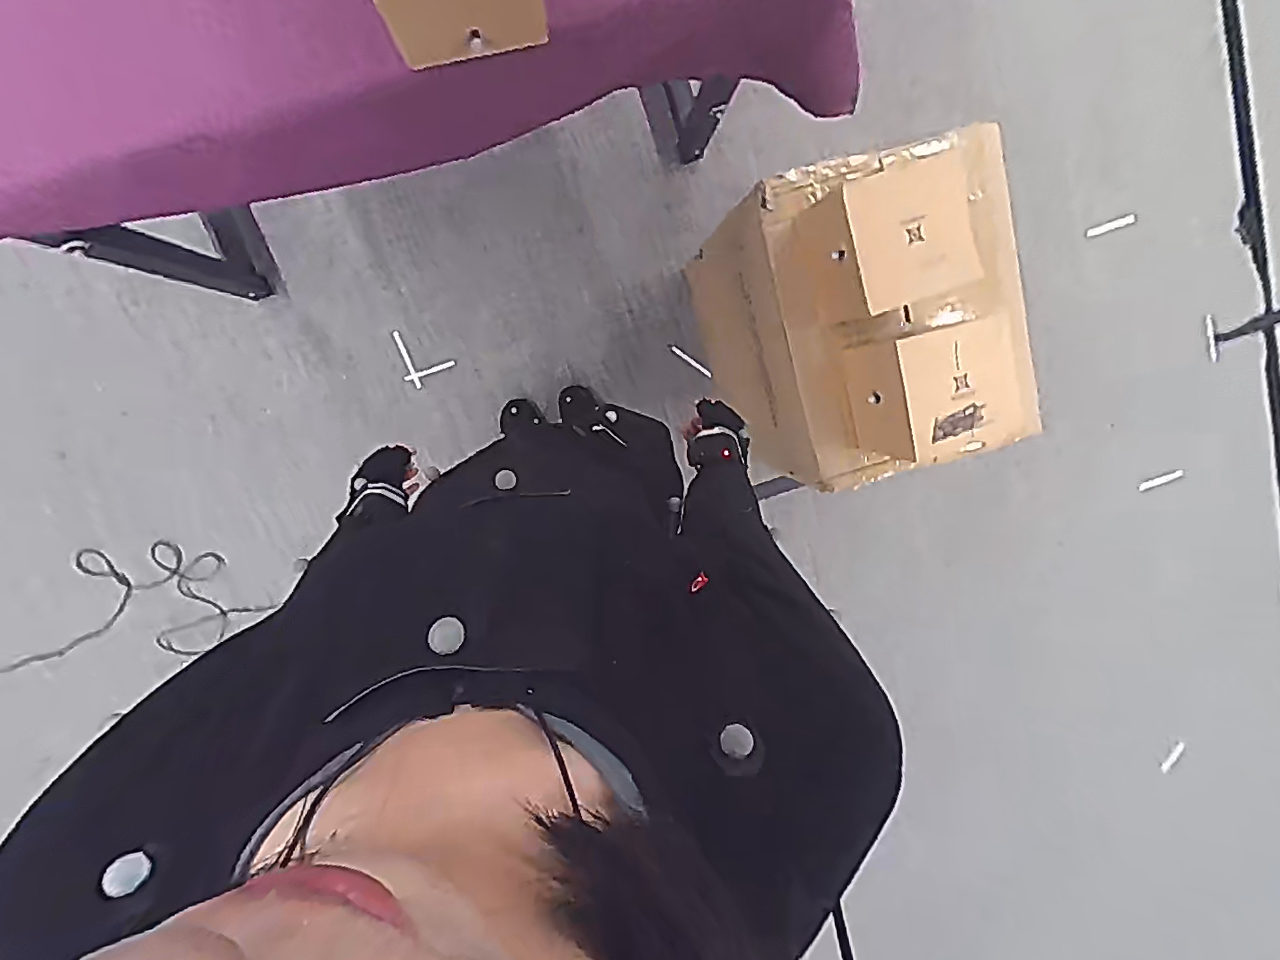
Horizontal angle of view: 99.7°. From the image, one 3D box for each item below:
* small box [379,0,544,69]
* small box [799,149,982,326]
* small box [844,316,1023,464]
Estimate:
[{"bbox_3d":[-0.206,-0.590,0.581,0.179,0.176,0.168,-15,100,-4],"label":"small box"},{"bbox_3d":[0.352,-0.338,0.789,0.168,0.176,0.179,-18,102,-1],"label":"small box"},{"bbox_3d":[0.438,-0.136,0.829,0.168,0.176,0.179,-15,99,-3],"label":"small box"}]
